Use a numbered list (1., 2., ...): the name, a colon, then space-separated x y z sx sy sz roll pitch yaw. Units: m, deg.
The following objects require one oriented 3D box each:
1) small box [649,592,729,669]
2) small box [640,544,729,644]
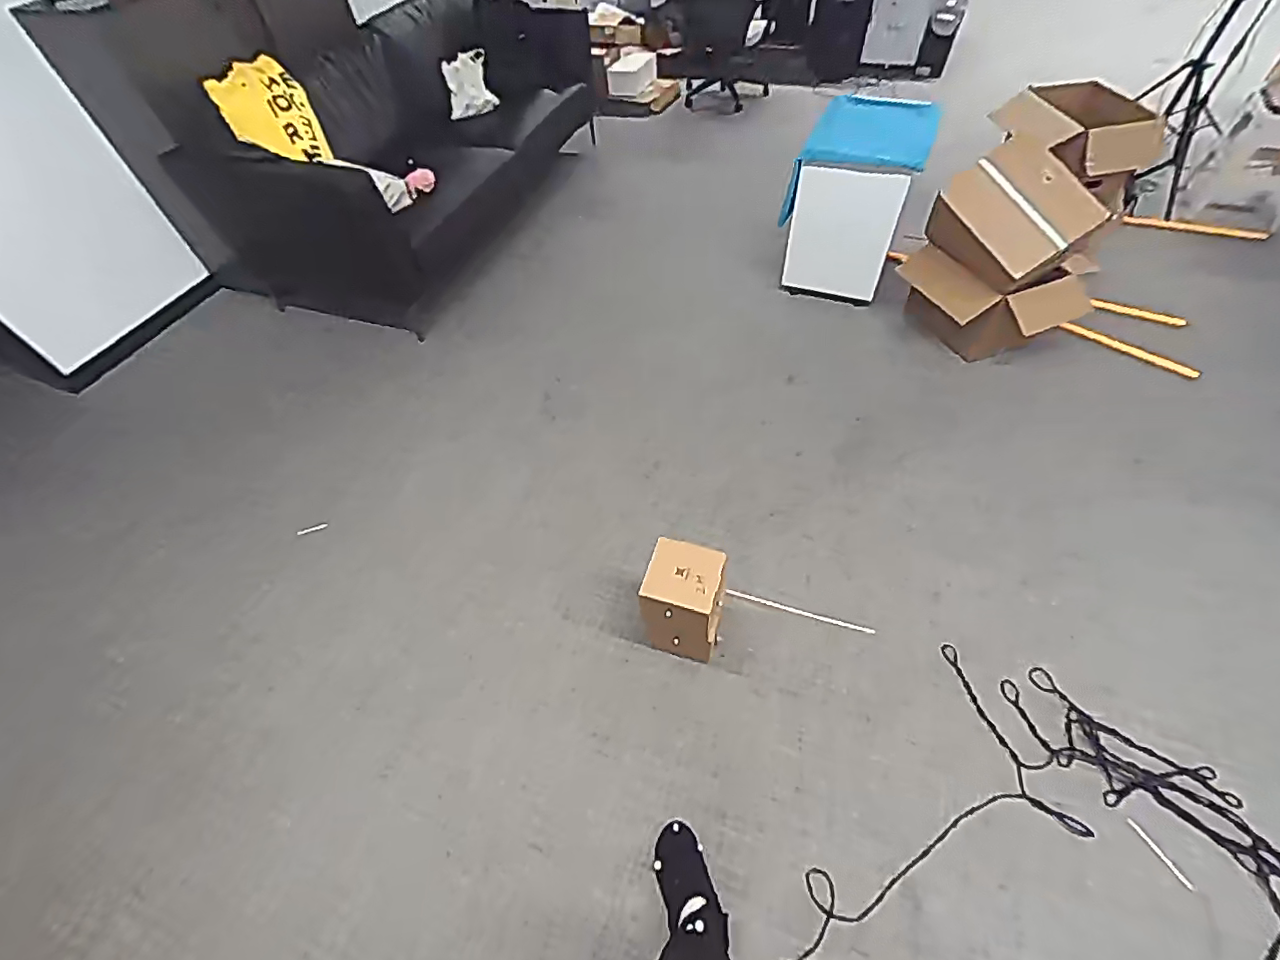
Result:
1. small box: 0.134 0.390 1.468 0.179 0.176 0.168 13 54 15
2. small box: 0.113 0.286 1.342 0.179 0.176 0.168 13 55 15
